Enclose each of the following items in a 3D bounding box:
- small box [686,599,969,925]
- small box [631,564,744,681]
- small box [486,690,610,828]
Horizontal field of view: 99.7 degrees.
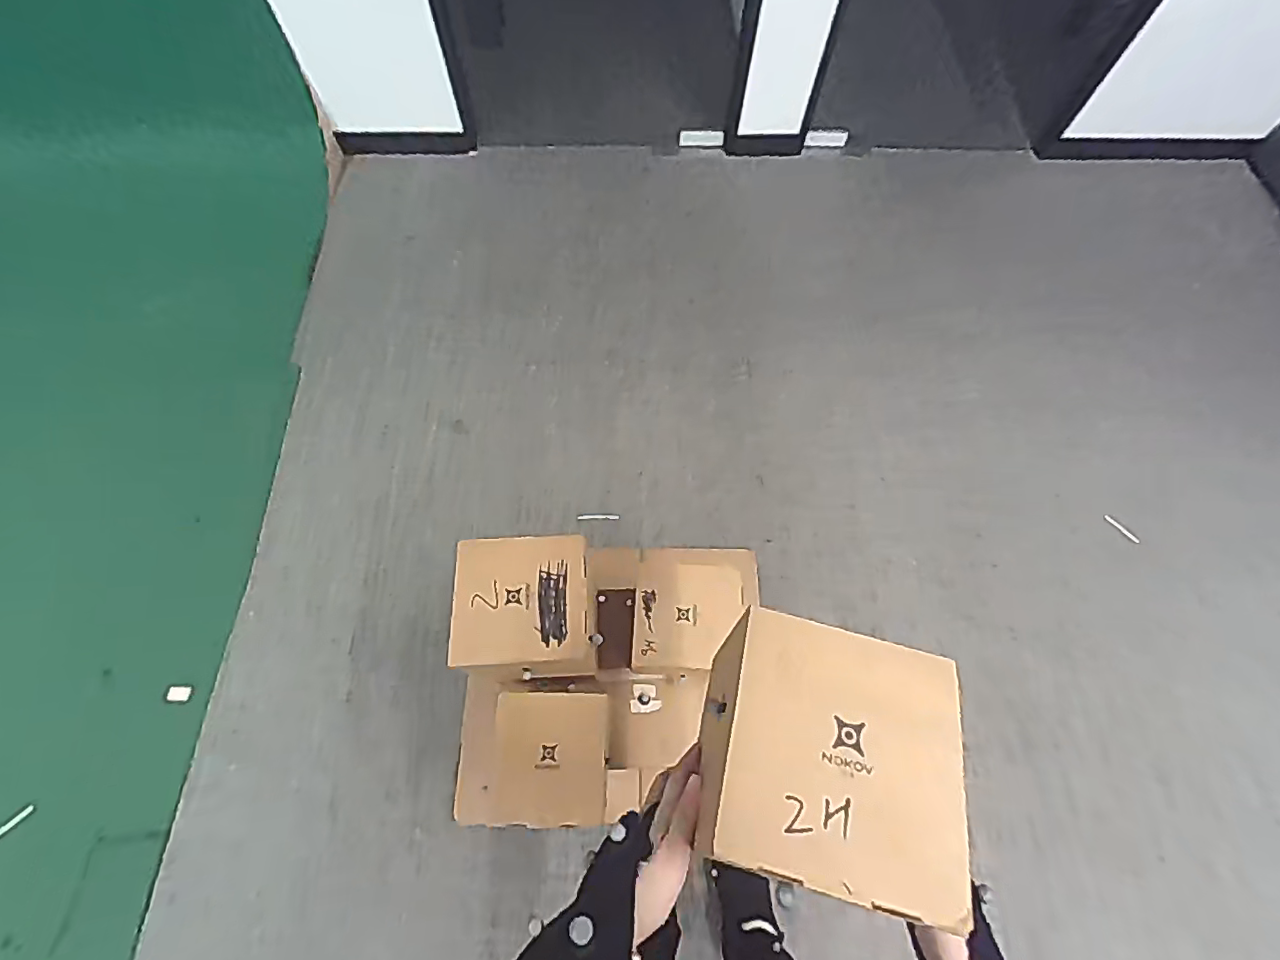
[{"bbox_3d":[0.141,0.229,0.453,0.168,0.176,0.179,14,57,5],"label":"small box"},{"bbox_3d":[0.078,0.251,0.932,0.179,0.176,0.168,4,67,2],"label":"small box"},{"bbox_3d":[-0.133,0.428,0.849,0.168,0.176,0.179,2,68,-2],"label":"small box"}]
